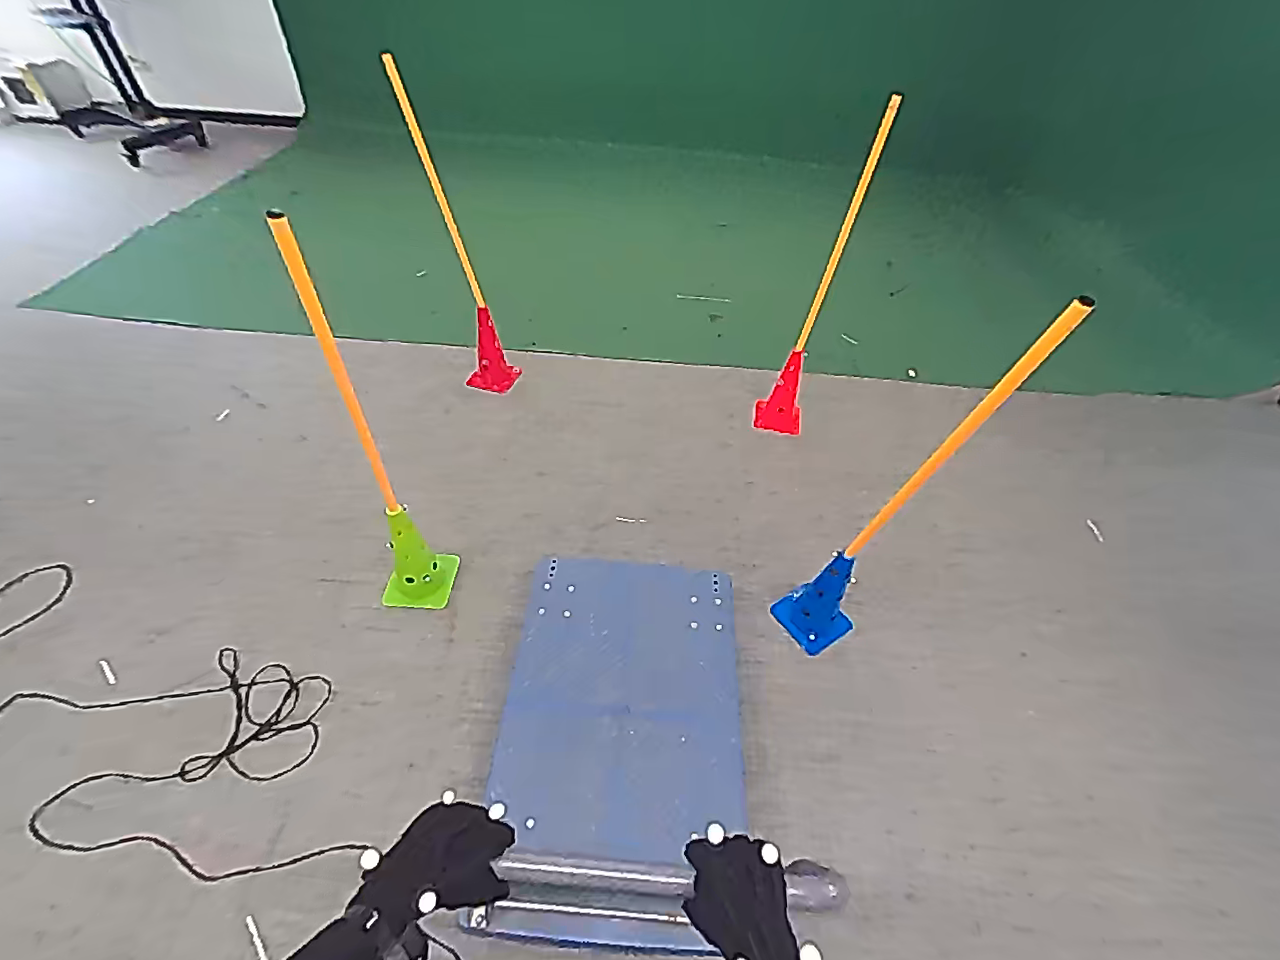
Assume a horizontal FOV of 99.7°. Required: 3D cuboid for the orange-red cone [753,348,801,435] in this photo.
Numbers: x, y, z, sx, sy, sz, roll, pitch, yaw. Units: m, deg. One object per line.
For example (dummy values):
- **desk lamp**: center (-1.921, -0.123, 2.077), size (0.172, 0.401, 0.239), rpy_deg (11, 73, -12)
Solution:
- **orange-red cone**: center (0.612, -0.393, 2.269), size (0.198, 0.360, 0.199), rpy_deg (12, 48, 8)
